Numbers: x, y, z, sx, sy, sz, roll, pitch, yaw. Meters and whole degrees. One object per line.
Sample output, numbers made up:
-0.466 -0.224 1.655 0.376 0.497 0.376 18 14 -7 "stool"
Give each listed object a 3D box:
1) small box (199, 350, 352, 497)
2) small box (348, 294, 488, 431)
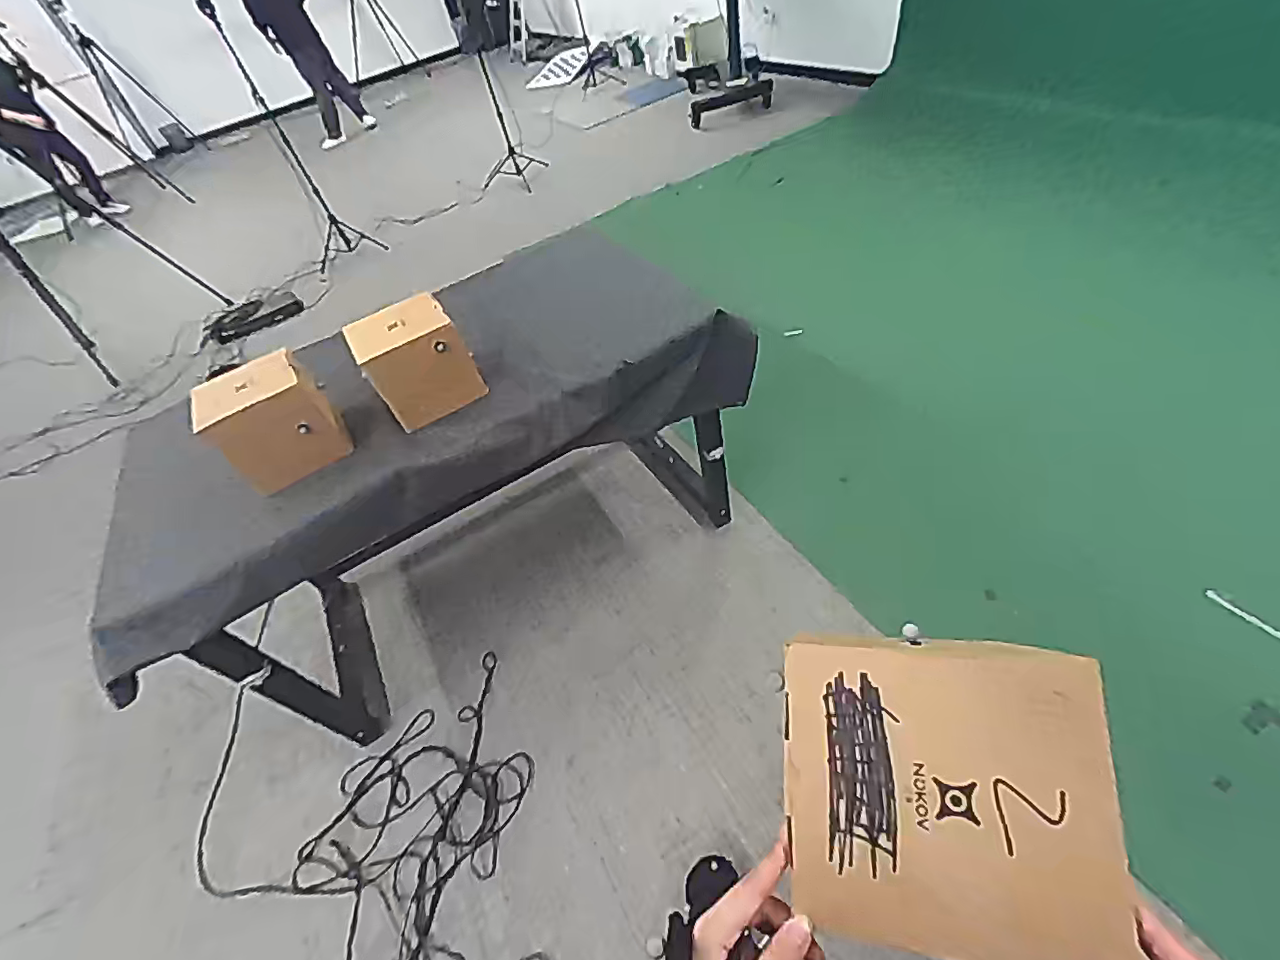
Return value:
-0.662 -0.104 0.998 0.179 0.176 0.168 -33 48 -14 "small box"
-0.424 -0.223 1.045 0.179 0.176 0.168 -31 48 -14 "small box"
